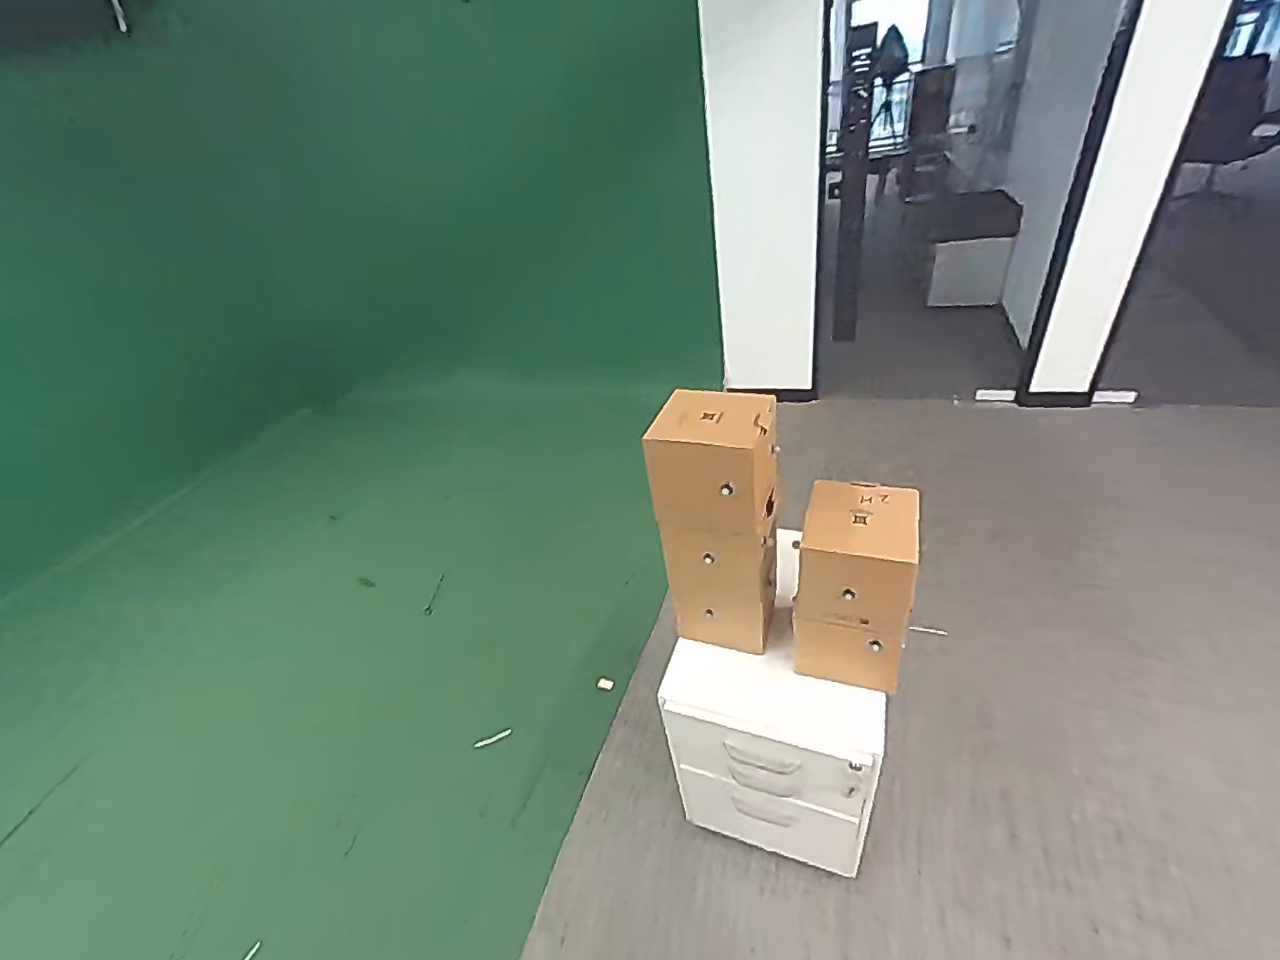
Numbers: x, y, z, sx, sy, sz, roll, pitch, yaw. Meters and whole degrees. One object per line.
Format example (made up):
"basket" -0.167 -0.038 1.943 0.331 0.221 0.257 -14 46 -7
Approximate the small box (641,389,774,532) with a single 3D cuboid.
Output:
"small box" 0.120 -0.034 0.896 0.179 0.176 0.168 7 38 22

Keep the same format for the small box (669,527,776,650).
"small box" 0.173 0.220 1.098 0.179 0.176 0.168 7 40 20

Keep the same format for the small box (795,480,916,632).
"small box" 0.357 0.124 0.902 0.168 0.176 0.179 7 39 22
